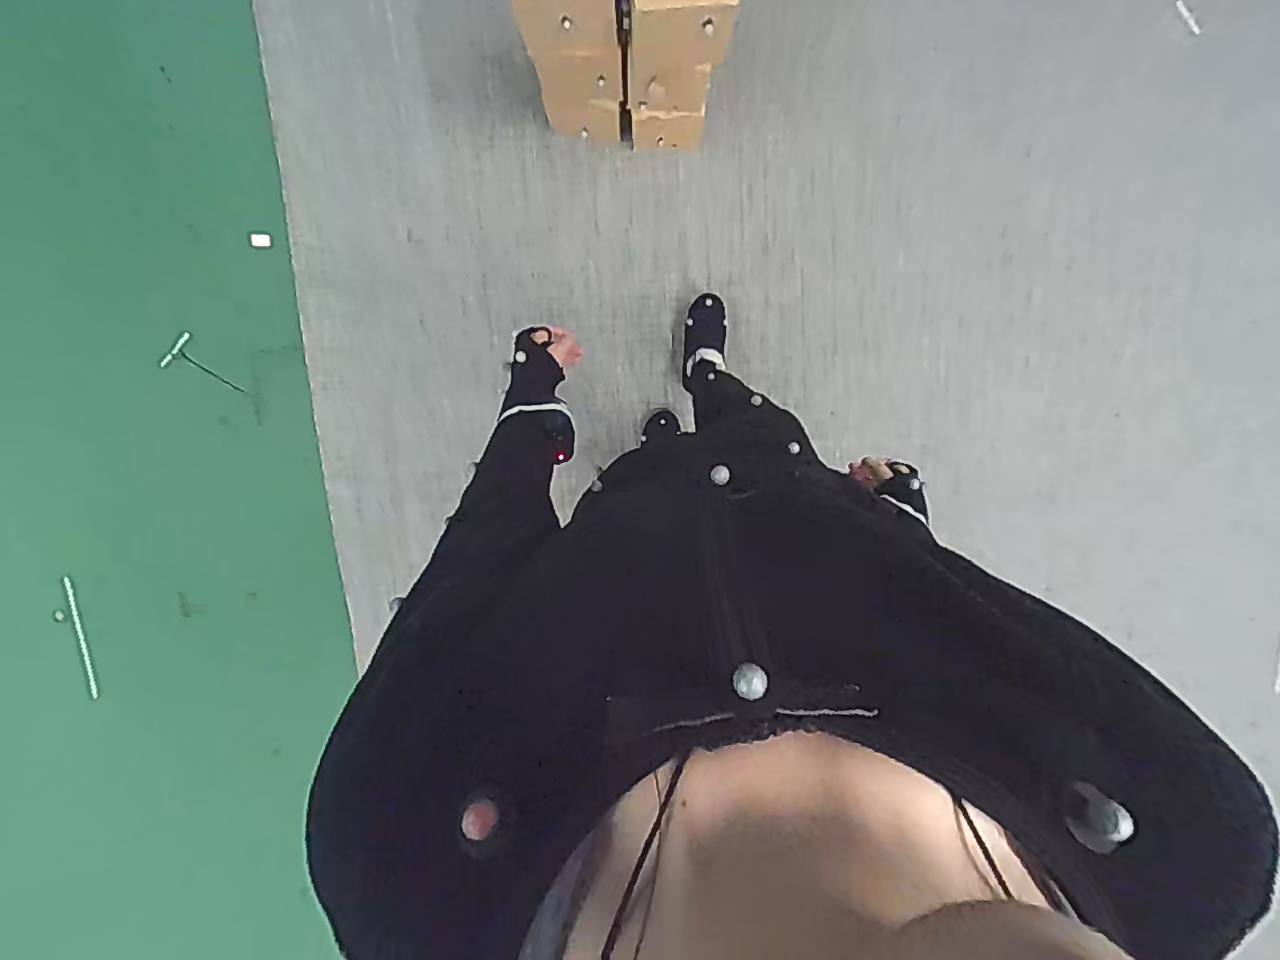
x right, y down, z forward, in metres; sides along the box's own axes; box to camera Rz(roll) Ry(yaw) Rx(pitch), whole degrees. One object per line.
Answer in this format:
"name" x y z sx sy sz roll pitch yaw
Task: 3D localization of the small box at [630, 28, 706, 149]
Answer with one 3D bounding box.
"small box" 0.062 -0.912 1.272 0.168 0.176 0.179 -3 101 0
